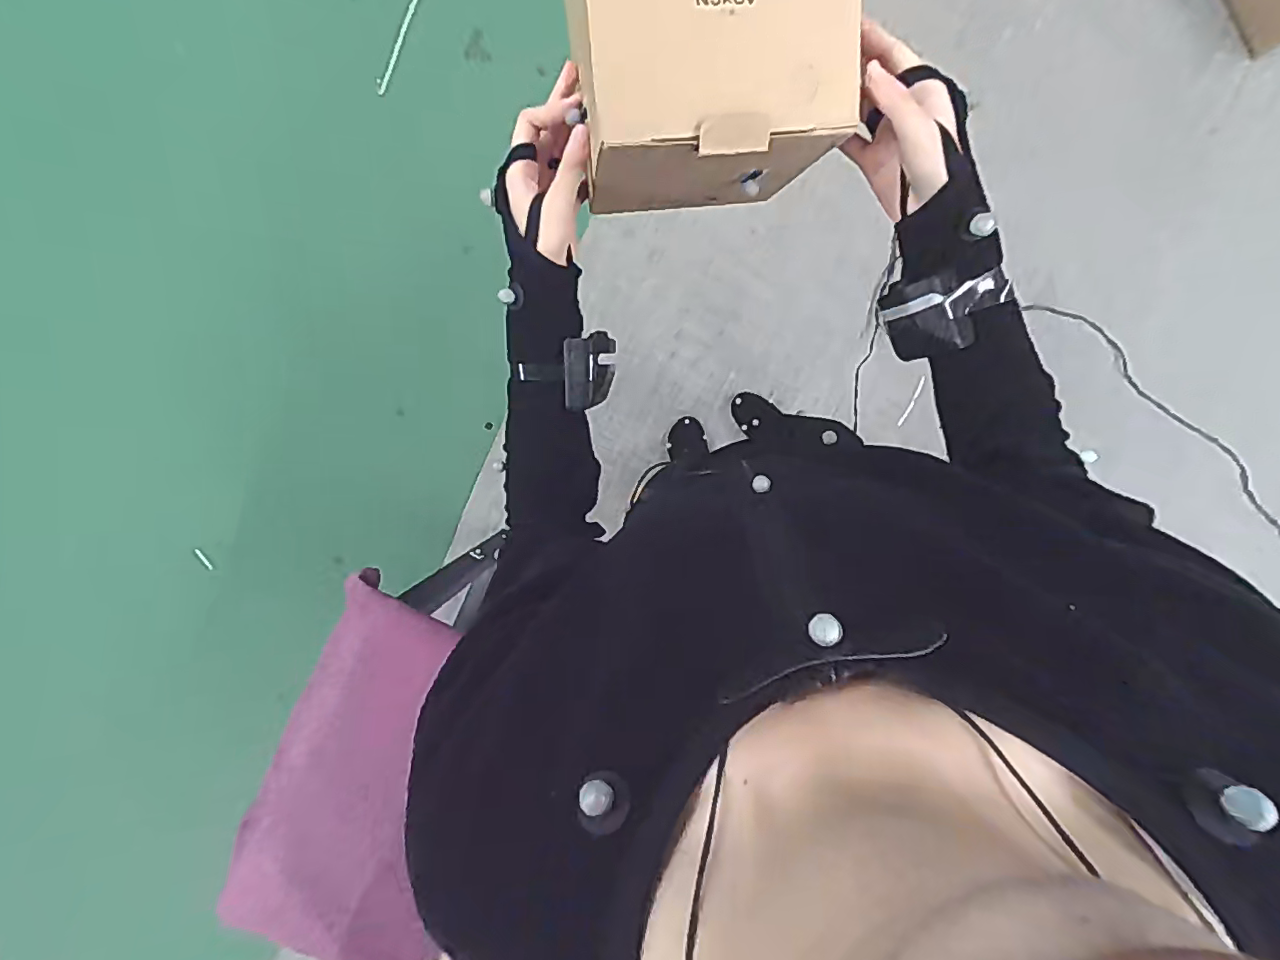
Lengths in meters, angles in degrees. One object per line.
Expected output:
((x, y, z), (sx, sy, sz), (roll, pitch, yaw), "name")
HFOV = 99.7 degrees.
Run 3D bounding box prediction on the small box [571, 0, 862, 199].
((0.039, -0.311, 0.382), (0.168, 0.176, 0.179), (-6, 103, -6), "small box")
